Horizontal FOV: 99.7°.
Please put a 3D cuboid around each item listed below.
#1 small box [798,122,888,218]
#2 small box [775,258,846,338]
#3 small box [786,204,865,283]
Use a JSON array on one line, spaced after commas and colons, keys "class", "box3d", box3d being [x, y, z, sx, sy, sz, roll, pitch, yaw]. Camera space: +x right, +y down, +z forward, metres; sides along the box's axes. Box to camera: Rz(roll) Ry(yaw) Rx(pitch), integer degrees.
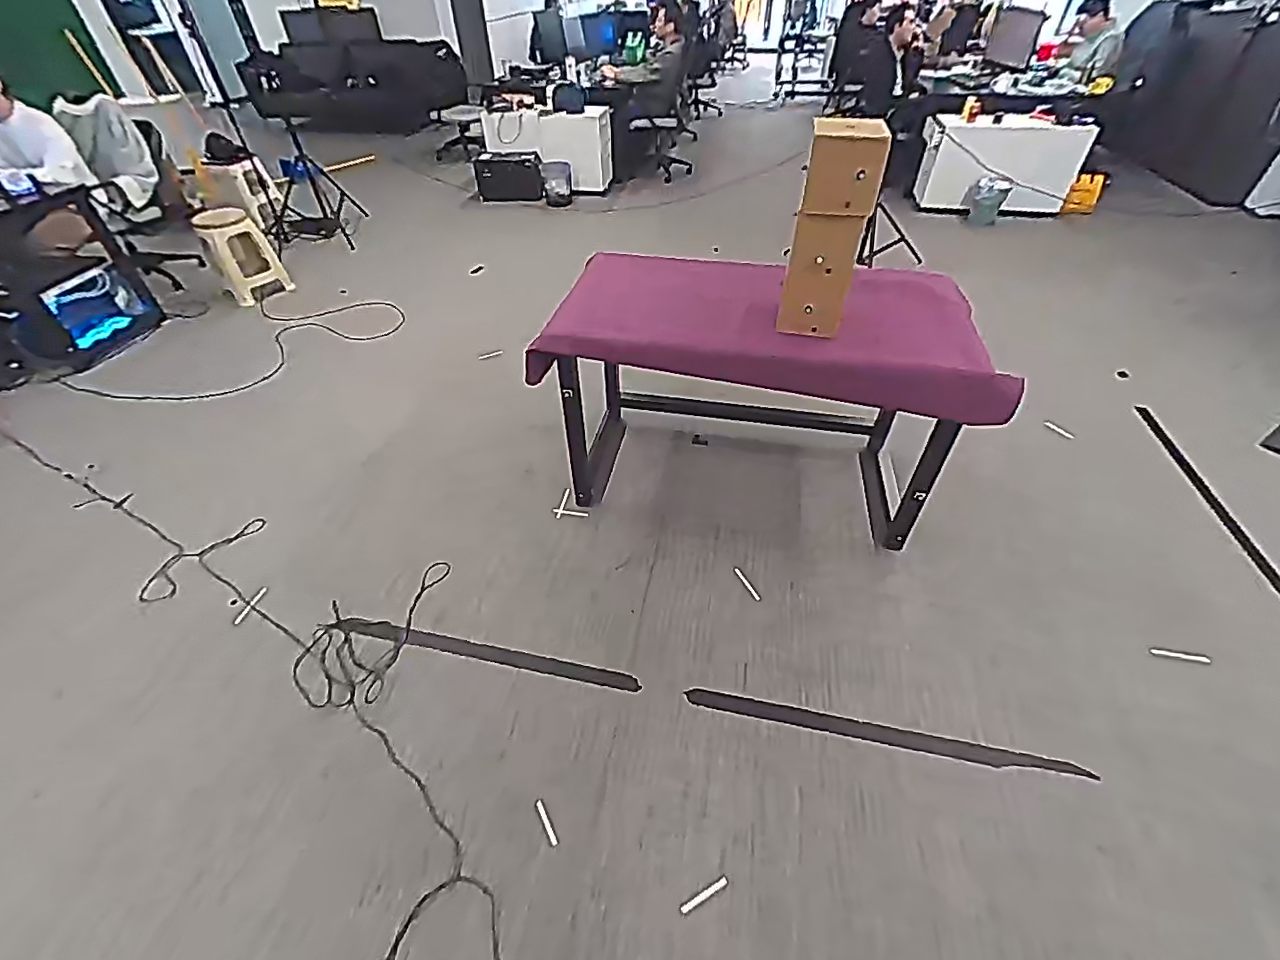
[{"class": "small box", "box3d": [0.479, -0.744, 1.299, 0.168, 0.176, 0.179, 8, 44, 8]}, {"class": "small box", "box3d": [0.483, -0.521, 1.538, 0.168, 0.176, 0.179, 10, 44, 11]}, {"class": "small box", "box3d": [0.484, -0.642, 1.427, 0.168, 0.176, 0.179, 9, 45, 11]}]
